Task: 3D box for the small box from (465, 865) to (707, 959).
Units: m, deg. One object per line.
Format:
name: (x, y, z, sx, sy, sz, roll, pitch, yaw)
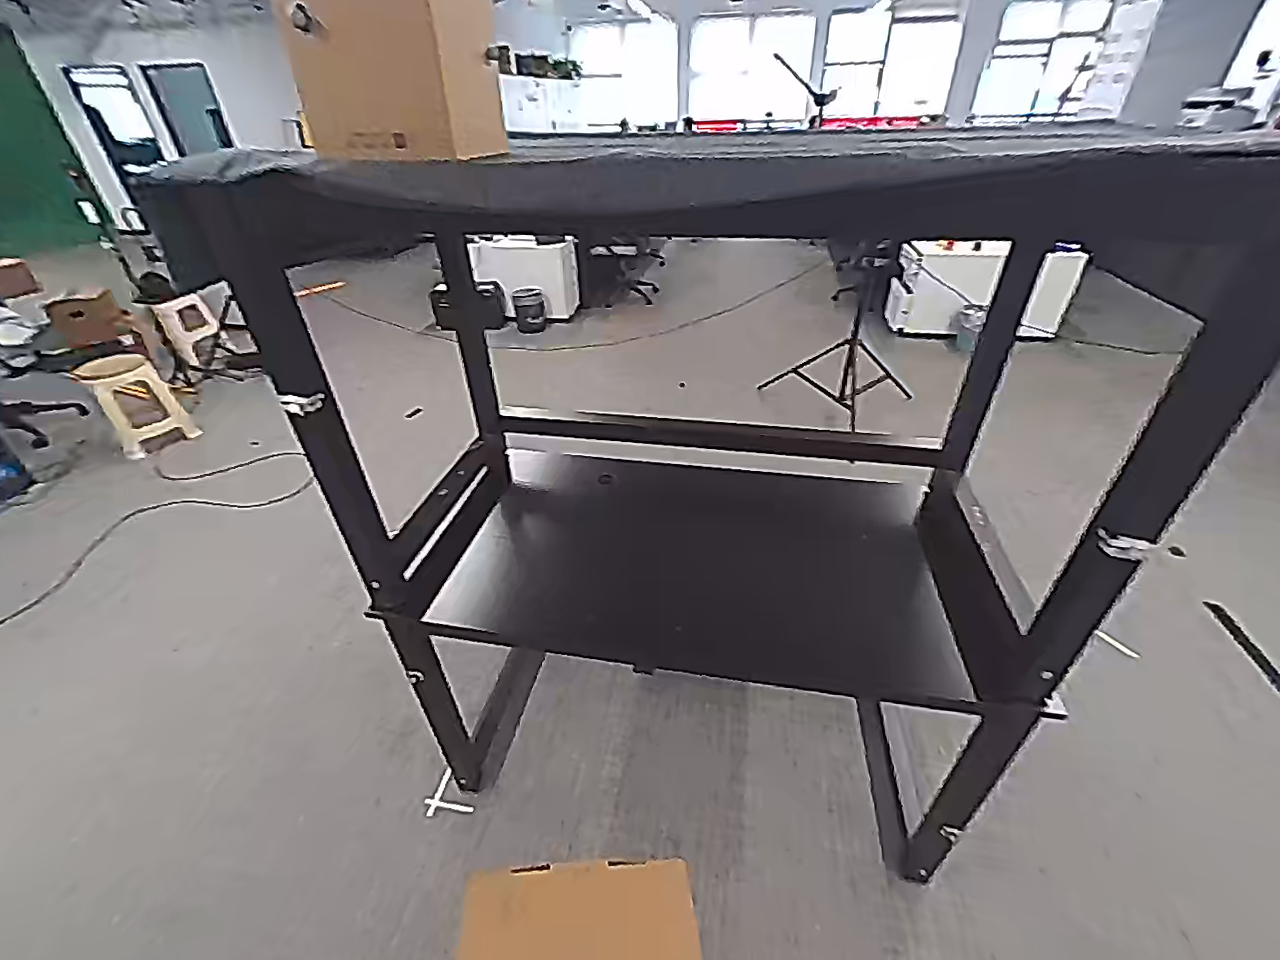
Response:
small box: (-0.041, 0.405, 0.367, 0.168, 0.176, 0.179, 2, 26, -9)
